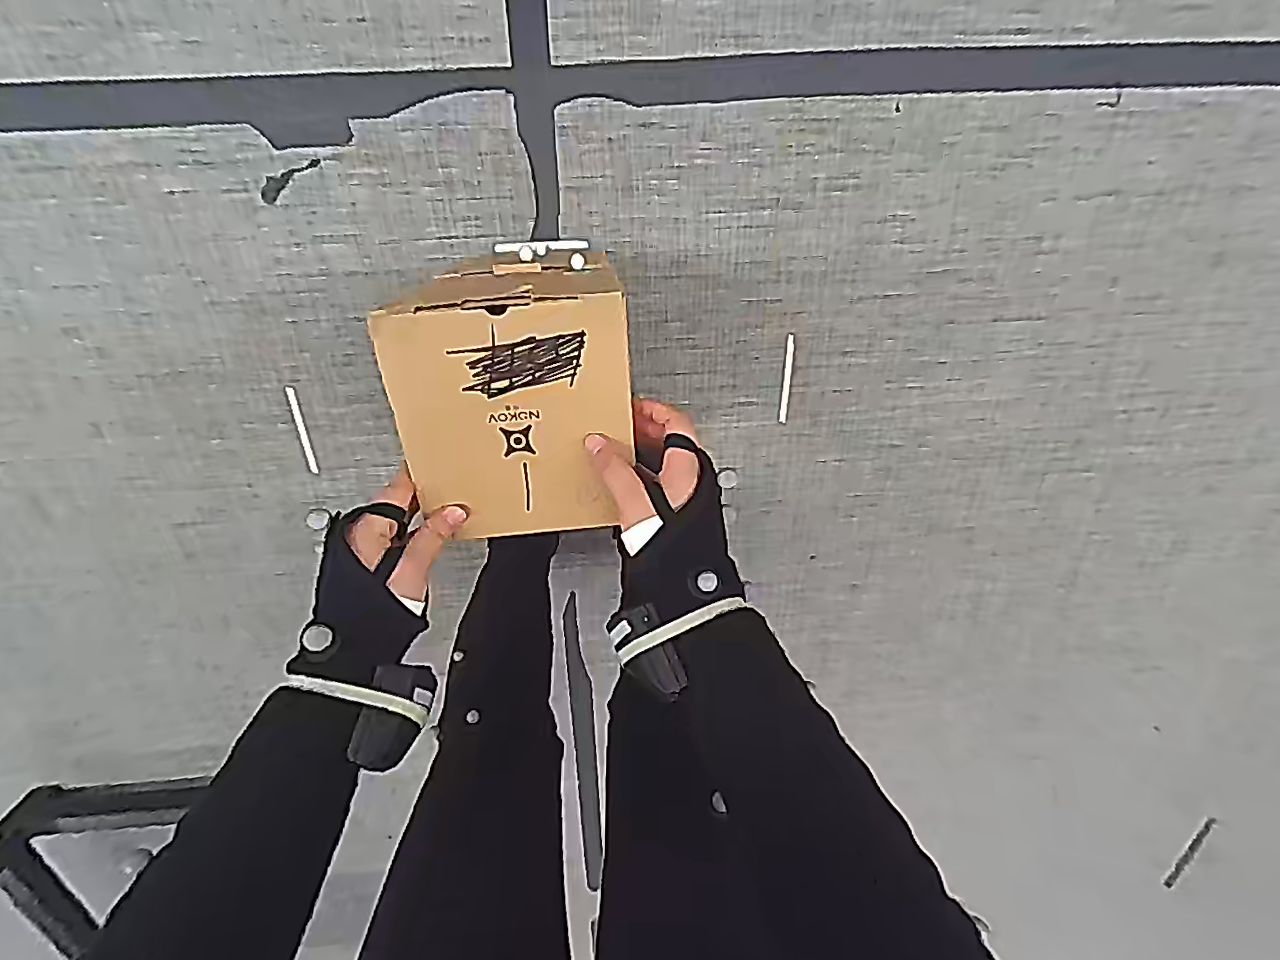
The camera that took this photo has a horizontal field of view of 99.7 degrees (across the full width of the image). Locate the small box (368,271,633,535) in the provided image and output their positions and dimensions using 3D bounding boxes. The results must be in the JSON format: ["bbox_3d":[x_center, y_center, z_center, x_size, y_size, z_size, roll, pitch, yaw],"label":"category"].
[{"bbox_3d":[-0.098,-0.077,0.460,0.168,0.176,0.179,-6,118,-2],"label":"small box"}]

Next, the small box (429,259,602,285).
[{"bbox_3d":[-0.122,-0.154,0.617,0.168,0.176,0.179,-6,115,-3],"label":"small box"}]
